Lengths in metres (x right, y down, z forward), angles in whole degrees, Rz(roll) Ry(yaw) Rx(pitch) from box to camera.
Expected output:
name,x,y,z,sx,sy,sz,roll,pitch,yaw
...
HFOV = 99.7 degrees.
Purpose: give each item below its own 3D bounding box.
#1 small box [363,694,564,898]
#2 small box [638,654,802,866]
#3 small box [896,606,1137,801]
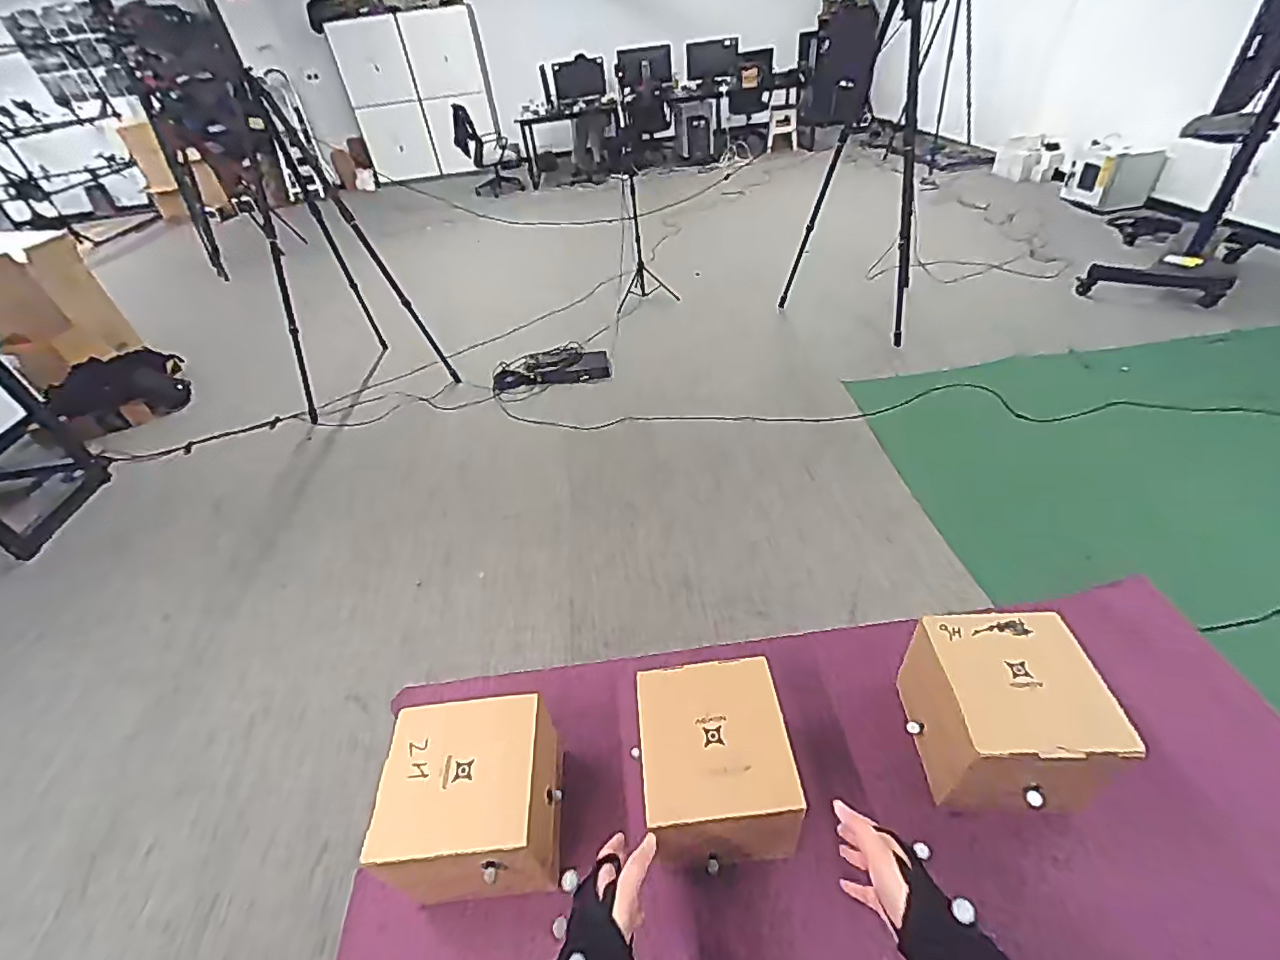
name,x,y,z,sx,sy,sz,roll,pitch,yaw
small box,-0.195,0.388,0.664,0.179,0.176,0.168,-7,40,2
small box,0.090,0.343,0.667,0.168,0.176,0.179,-8,41,2
small box,0.440,0.279,0.672,0.168,0.176,0.179,-3,42,6
